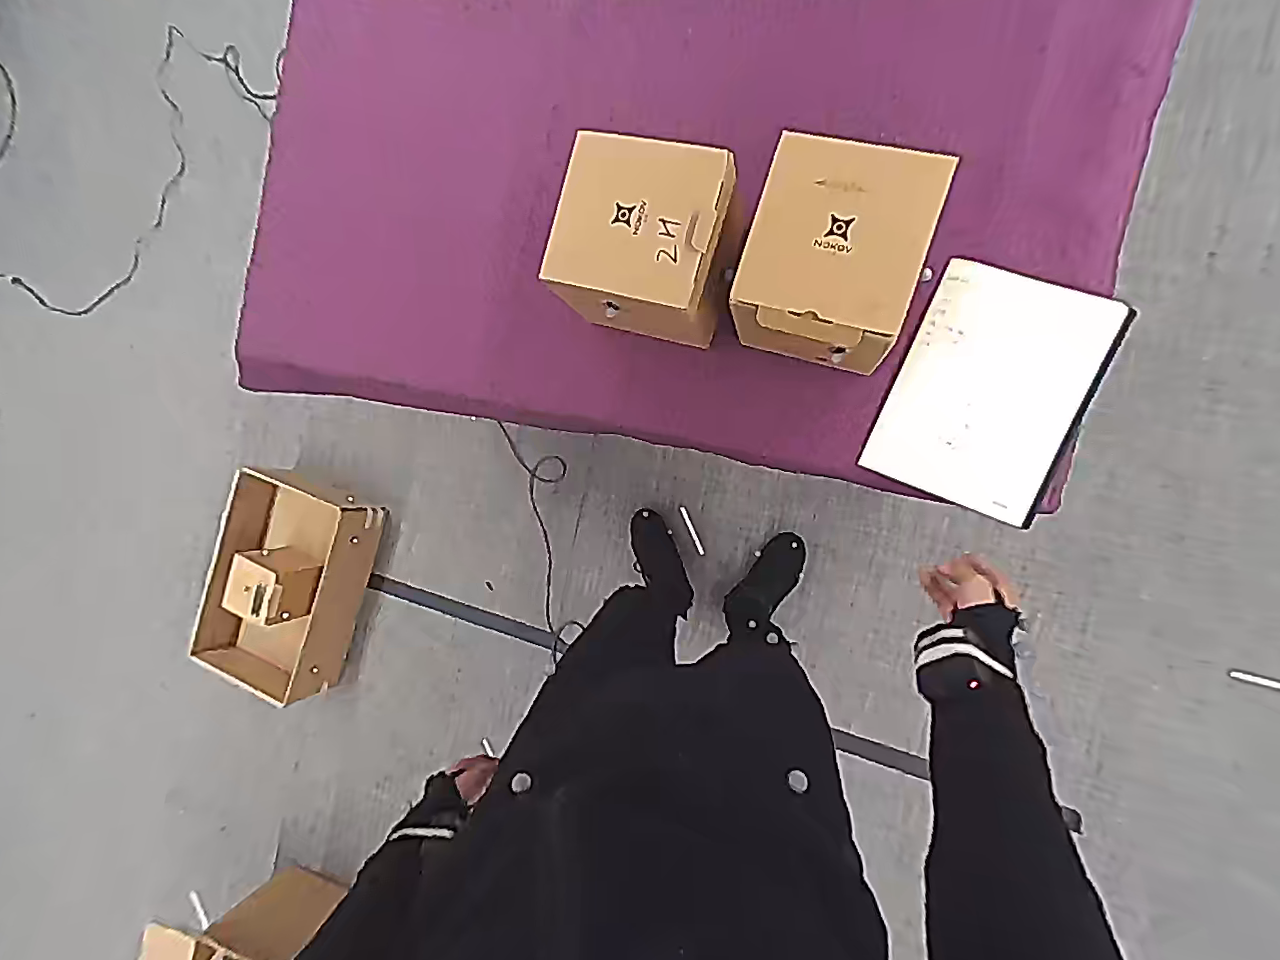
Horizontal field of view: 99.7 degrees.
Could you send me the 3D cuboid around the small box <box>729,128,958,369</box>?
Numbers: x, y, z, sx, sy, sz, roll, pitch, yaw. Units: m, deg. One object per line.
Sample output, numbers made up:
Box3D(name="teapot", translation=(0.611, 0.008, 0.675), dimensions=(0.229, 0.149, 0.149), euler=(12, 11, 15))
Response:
Box3D(name="small box", translation=(0.210, -0.236, 0.592), dimensions=(0.168, 0.176, 0.179), euler=(19, 93, 14))
